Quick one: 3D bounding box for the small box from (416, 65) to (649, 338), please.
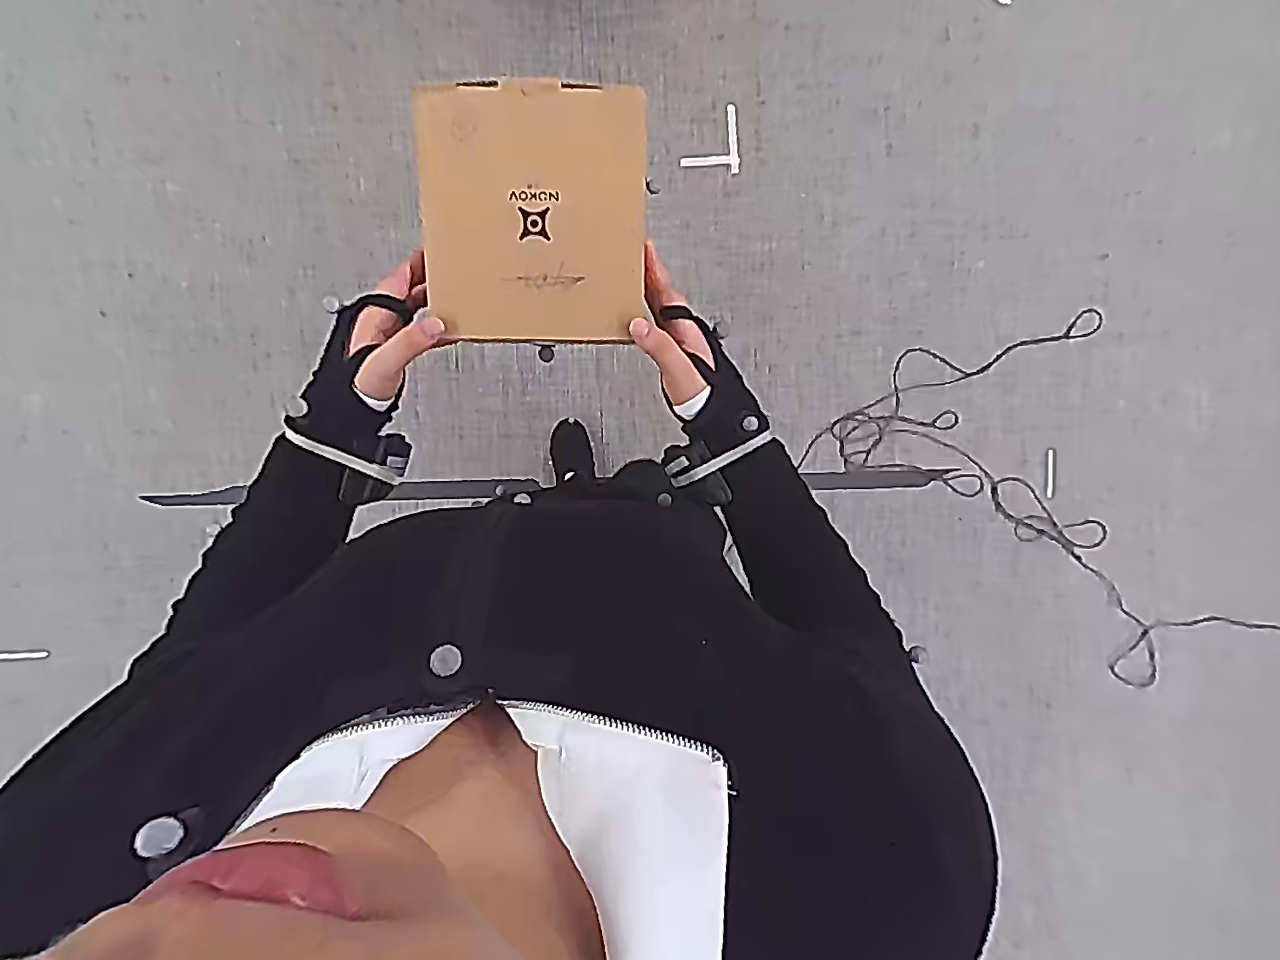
[{"bbox_3d":[-0.080,-0.220,0.474,0.168,0.176,0.179,1,103,-1],"label":"small box"}]
